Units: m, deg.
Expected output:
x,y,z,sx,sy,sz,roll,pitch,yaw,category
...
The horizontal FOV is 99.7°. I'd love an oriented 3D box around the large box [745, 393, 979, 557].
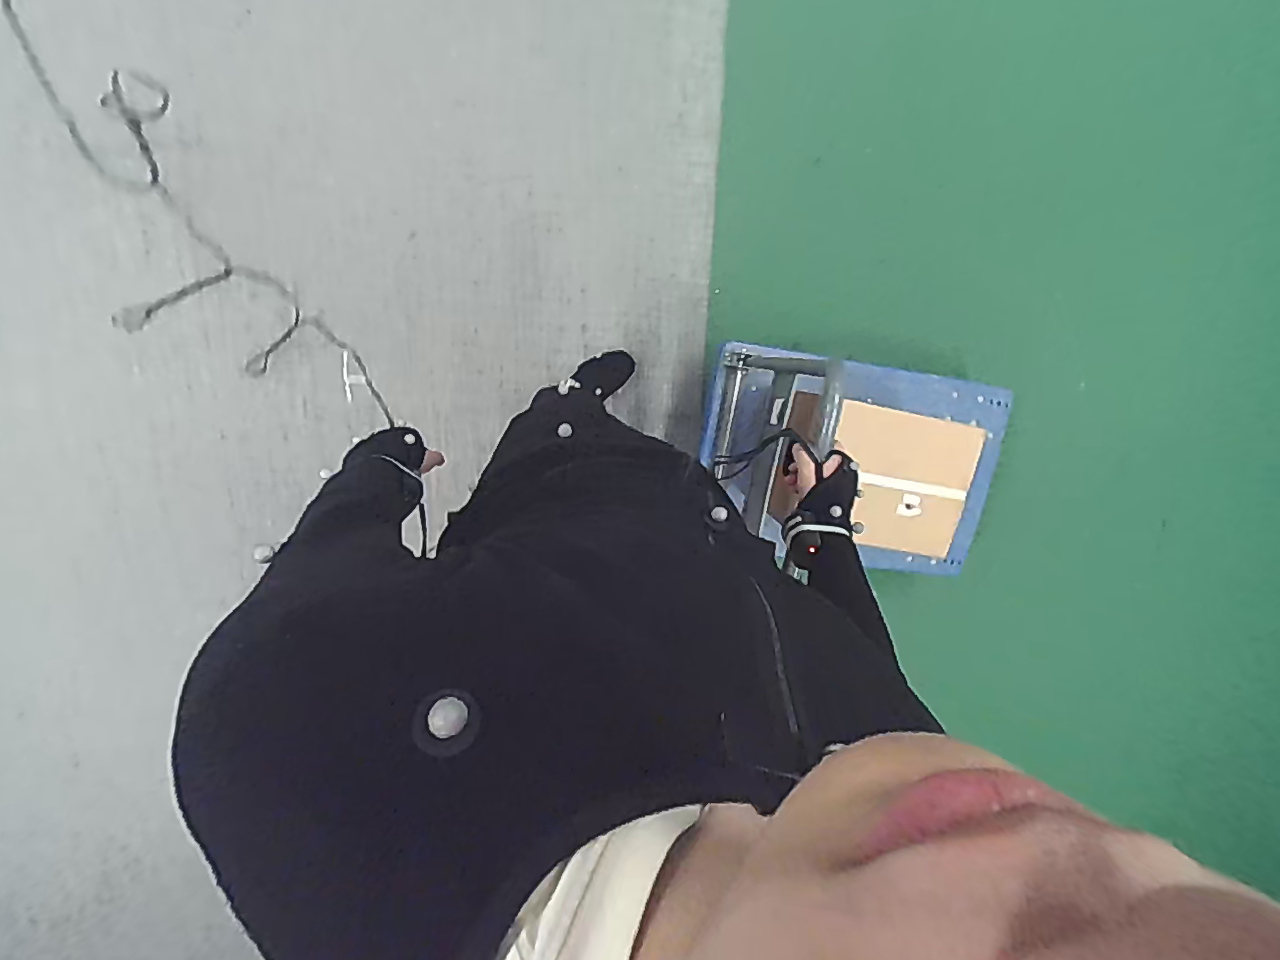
x,y,z,sx,sy,sz,roll,pitch,yaw,category
0.525,-0.026,1.358,0.408,0.320,0.320,10,102,-10,large box
